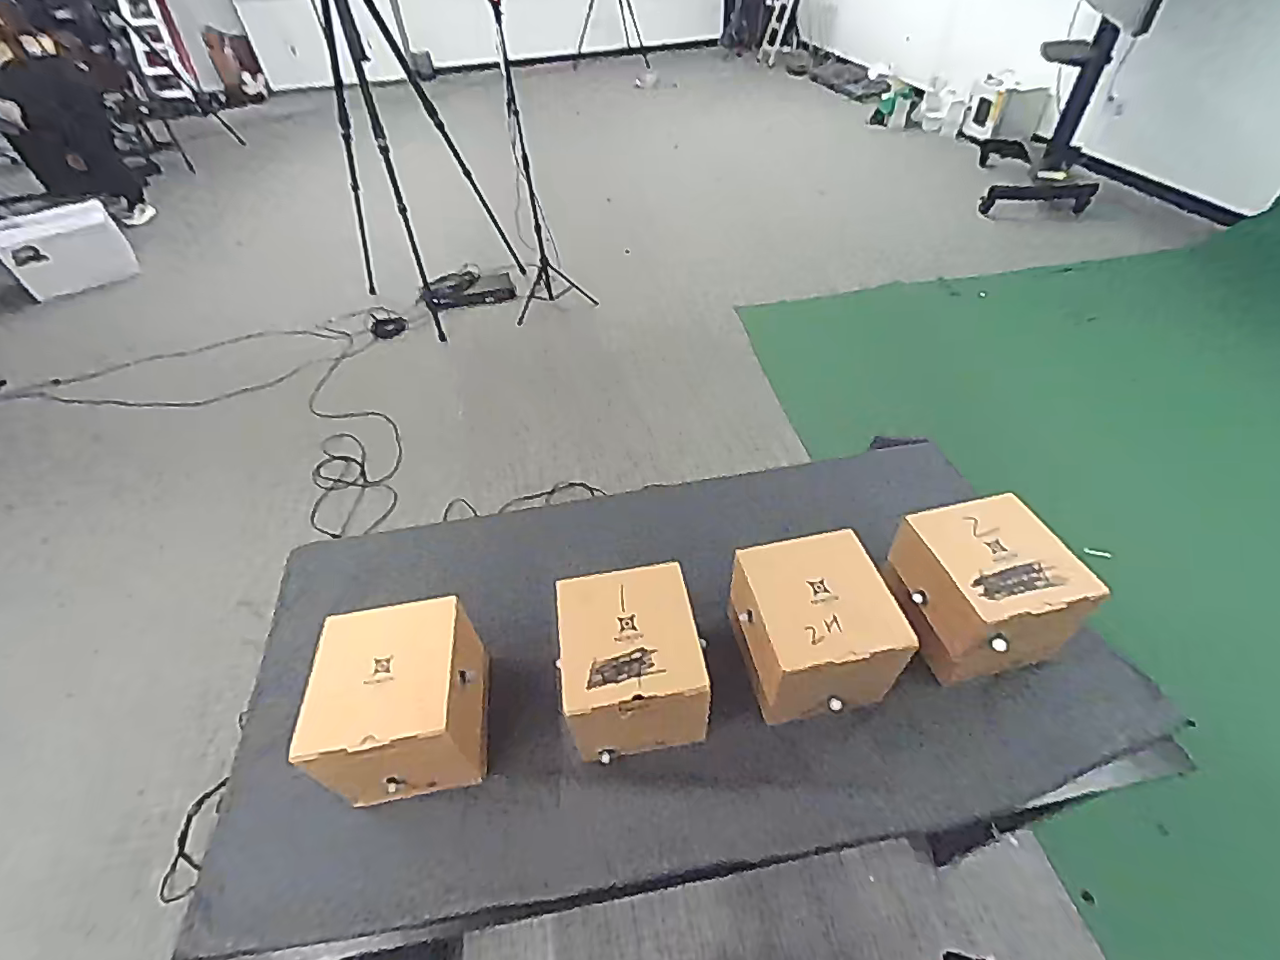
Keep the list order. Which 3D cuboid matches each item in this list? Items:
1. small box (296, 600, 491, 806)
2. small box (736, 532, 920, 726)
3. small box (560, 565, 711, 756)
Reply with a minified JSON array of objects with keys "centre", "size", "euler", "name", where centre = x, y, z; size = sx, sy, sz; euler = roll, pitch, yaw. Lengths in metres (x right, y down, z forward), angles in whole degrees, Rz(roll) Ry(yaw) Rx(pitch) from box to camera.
[{"centre":[-0.292,0.282,0.687],"size":[0.168,0.176,0.179],"euler":[-9,45,-5],"name":"small box"},{"centre":[0.231,0.200,0.725],"size":[0.168,0.176,0.179],"euler":[-11,46,-4],"name":"small box"},{"centre":[-0.007,0.240,0.705],"size":[0.168,0.176,0.179],"euler":[-8,45,-4],"name":"small box"}]
